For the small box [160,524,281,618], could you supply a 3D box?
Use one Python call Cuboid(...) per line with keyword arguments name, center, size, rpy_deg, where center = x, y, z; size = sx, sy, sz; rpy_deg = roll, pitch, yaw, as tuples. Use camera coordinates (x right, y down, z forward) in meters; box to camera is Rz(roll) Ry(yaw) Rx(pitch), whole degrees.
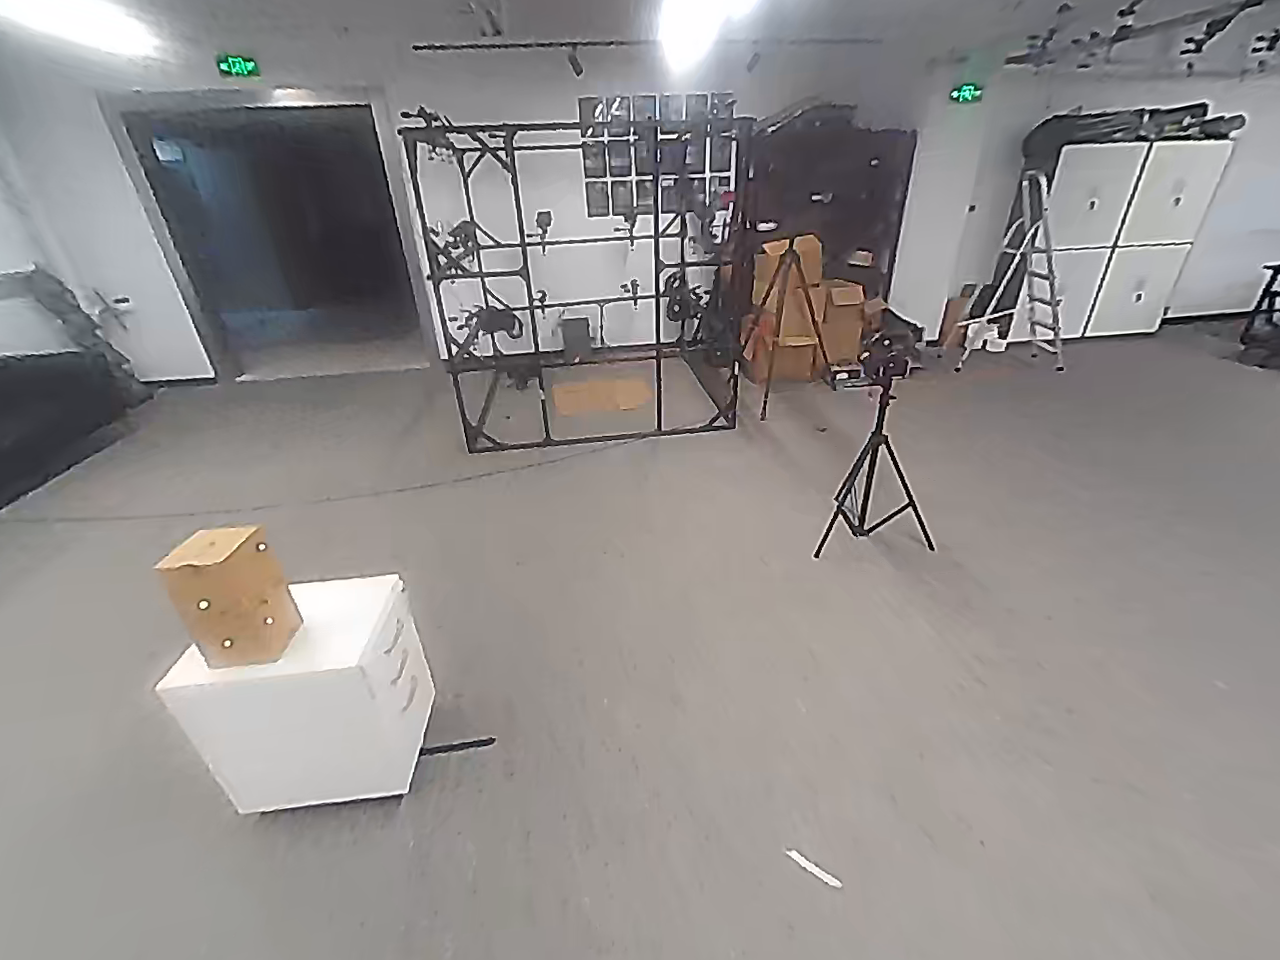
Cuboid(name="small box", center=(-1.078, 0.235, 1.412), size=(0.168, 0.176, 0.179), rpy_deg=(-4, 28, -1))
